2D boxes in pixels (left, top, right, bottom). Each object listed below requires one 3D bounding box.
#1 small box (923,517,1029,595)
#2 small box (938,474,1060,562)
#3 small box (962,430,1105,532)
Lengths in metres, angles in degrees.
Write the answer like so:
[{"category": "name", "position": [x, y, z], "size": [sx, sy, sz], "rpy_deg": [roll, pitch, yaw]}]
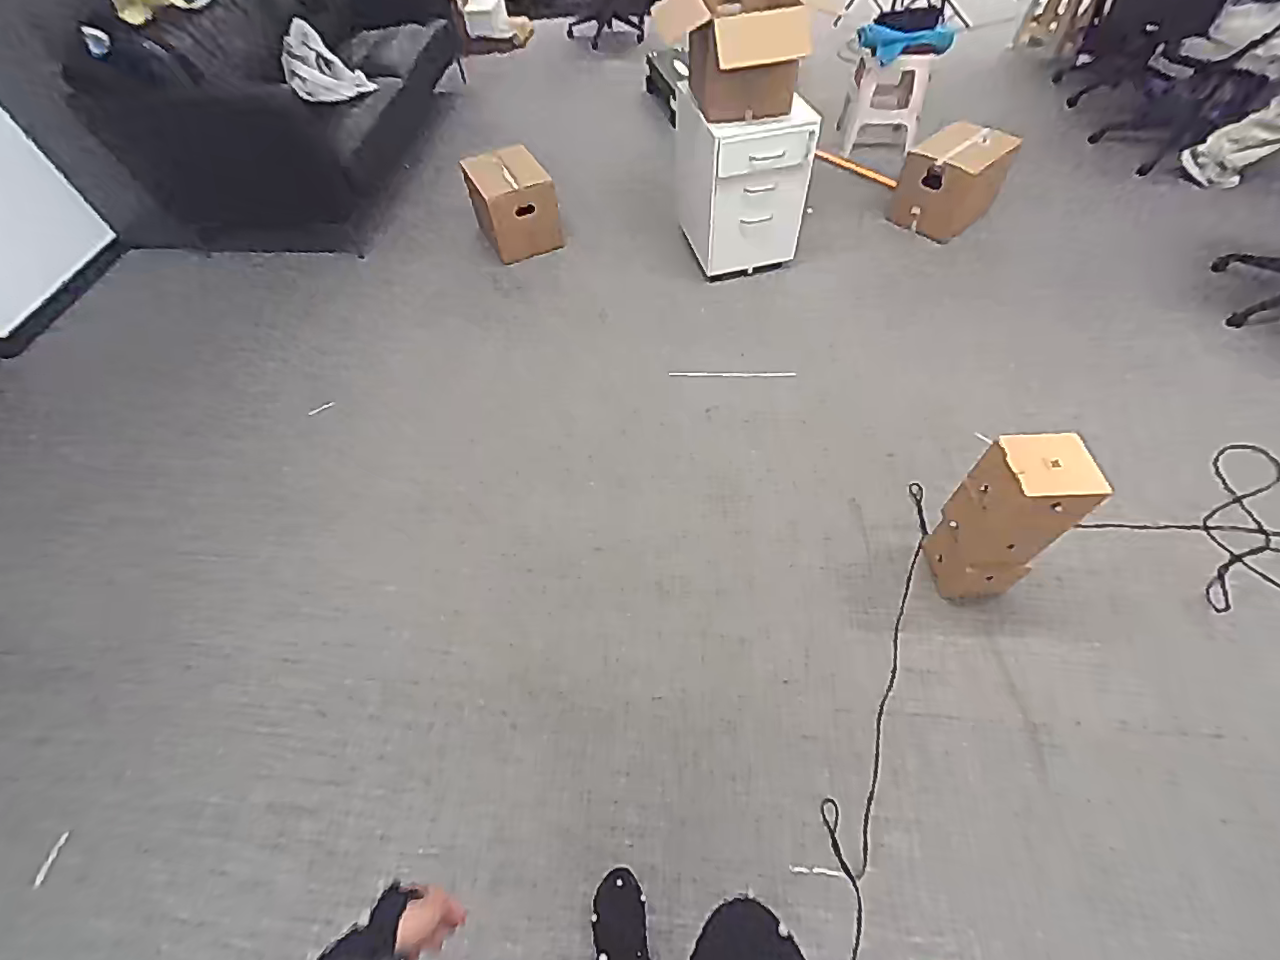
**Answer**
[{"category": "small box", "position": [0.905, 0.206, 1.483], "size": [0.179, 0.176, 0.168], "rpy_deg": [-4, 55, 0]}, {"category": "small box", "position": [0.892, 0.096, 1.362], "size": [0.179, 0.176, 0.168], "rpy_deg": [-2, 54, 3]}, {"category": "small box", "position": [0.878, 0.006, 1.227], "size": [0.179, 0.176, 0.168], "rpy_deg": [-3, 54, 3]}]
